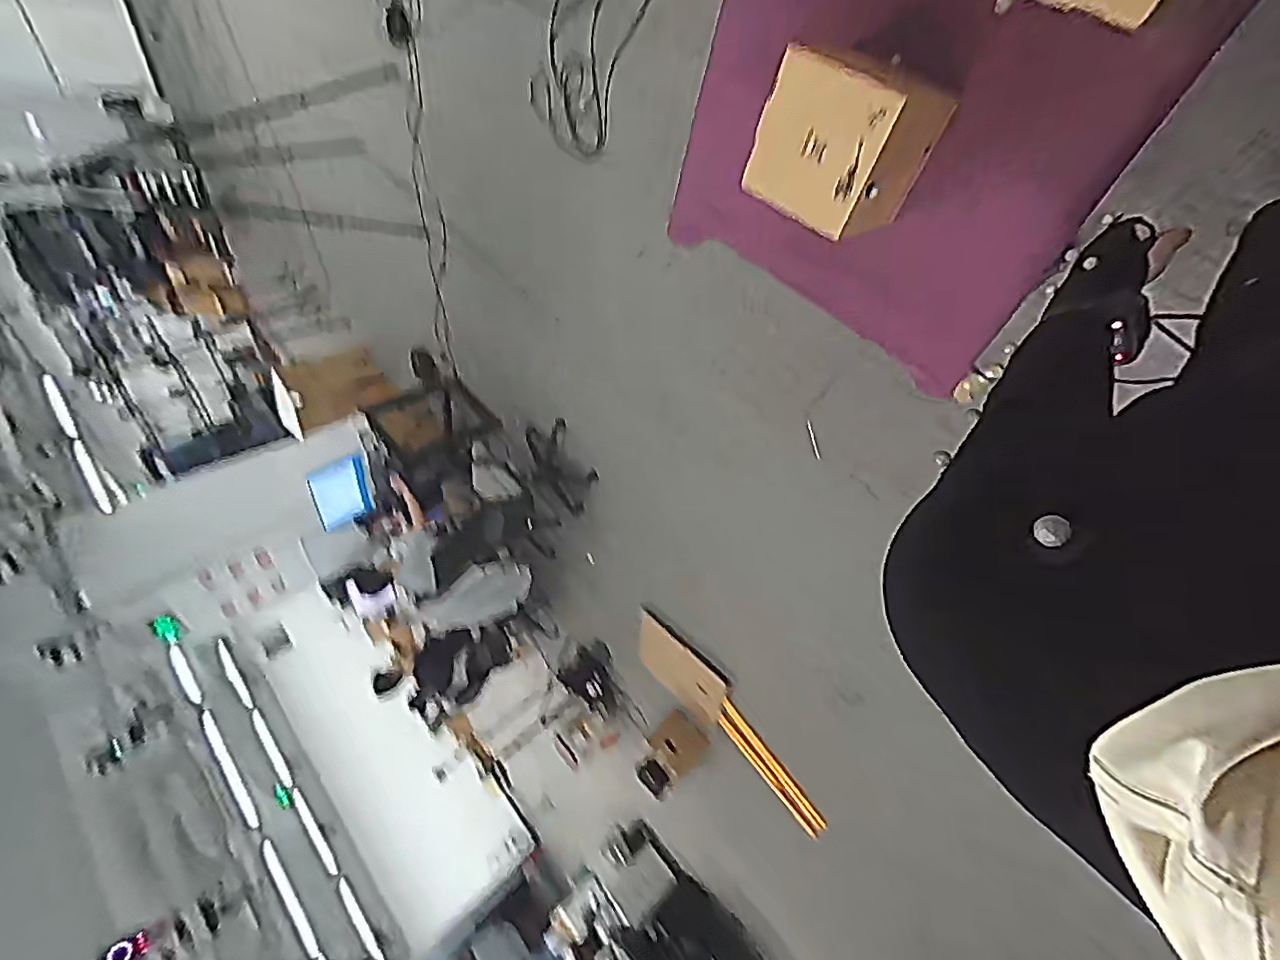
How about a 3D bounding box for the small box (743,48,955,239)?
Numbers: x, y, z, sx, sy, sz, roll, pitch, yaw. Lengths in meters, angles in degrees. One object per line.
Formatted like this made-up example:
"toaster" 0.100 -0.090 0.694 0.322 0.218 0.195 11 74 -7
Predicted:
"small box" 0.280 -0.459 0.740 0.179 0.176 0.168 44 143 22
